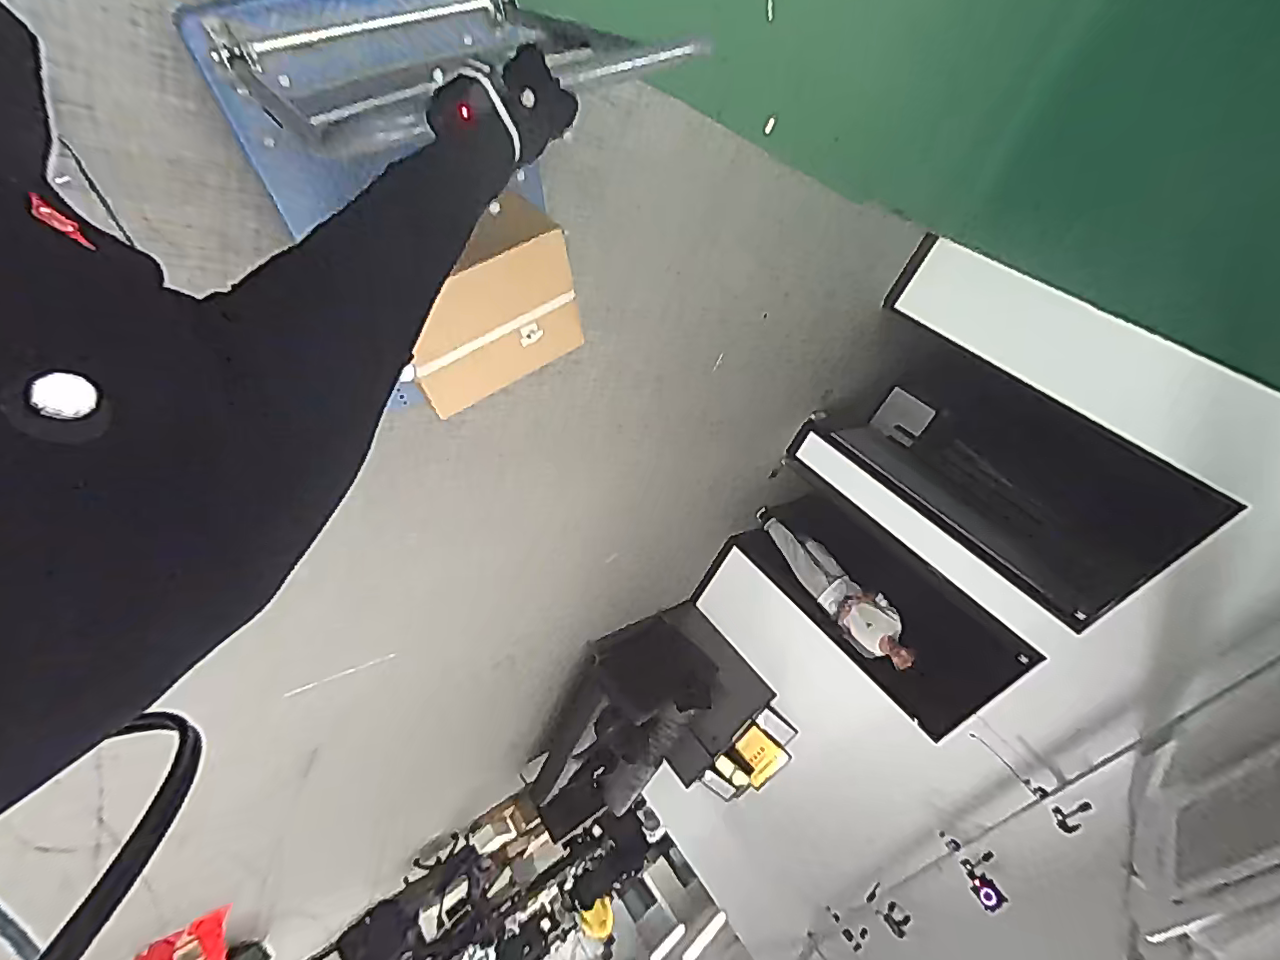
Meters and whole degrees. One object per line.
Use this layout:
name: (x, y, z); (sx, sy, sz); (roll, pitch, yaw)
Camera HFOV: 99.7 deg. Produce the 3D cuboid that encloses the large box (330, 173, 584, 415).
large box: (-0.399, -0.432, 1.242); (0.408, 0.320, 0.320); (-35, 151, -18)
